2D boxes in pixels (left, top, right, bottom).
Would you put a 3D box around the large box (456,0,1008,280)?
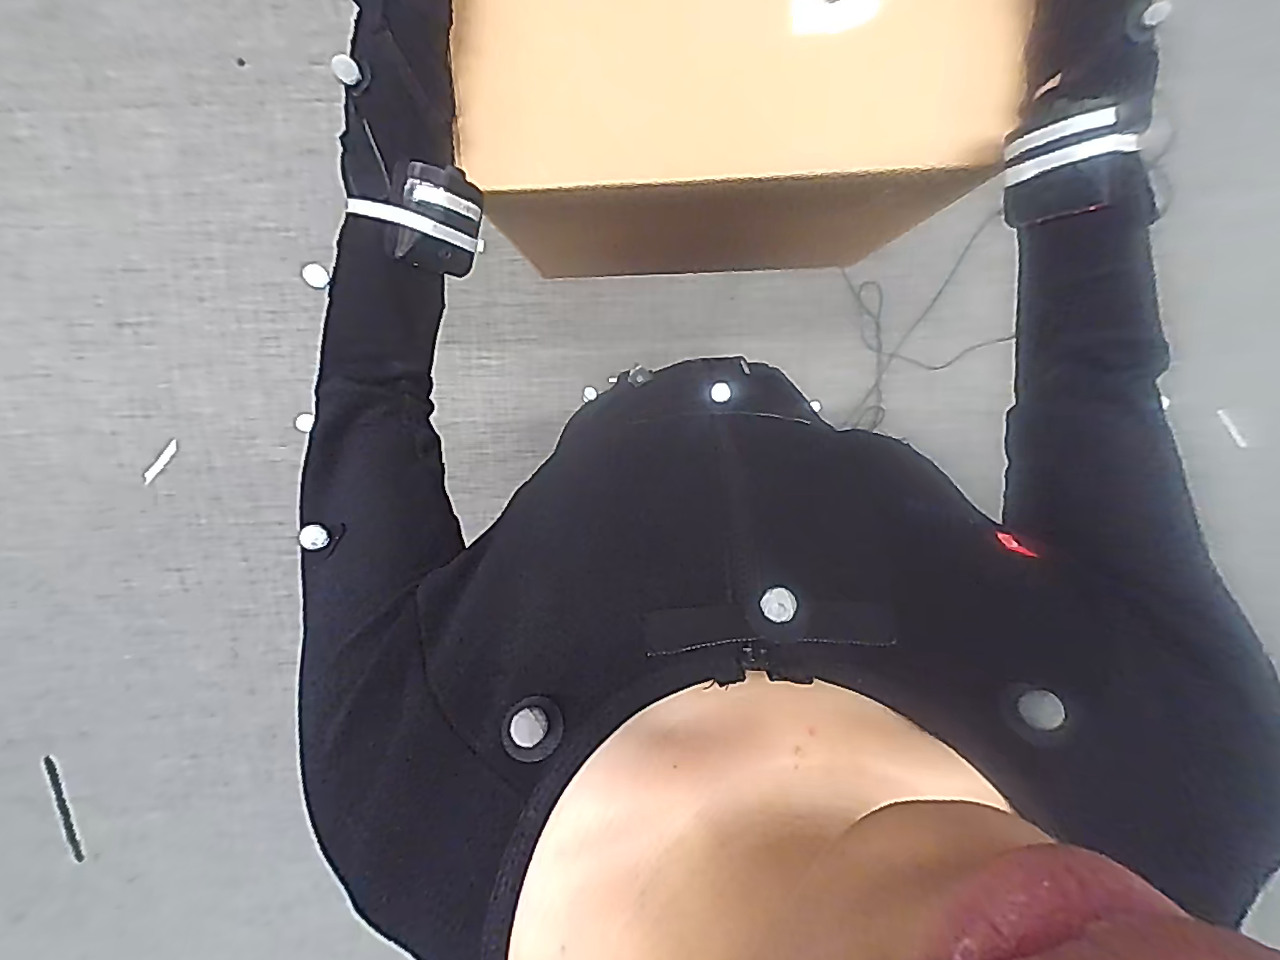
[{"bbox_3d":[0.063,-0.400,0.530,0.408,0.320,0.320,-3,99,1],"label":"large box"}]
